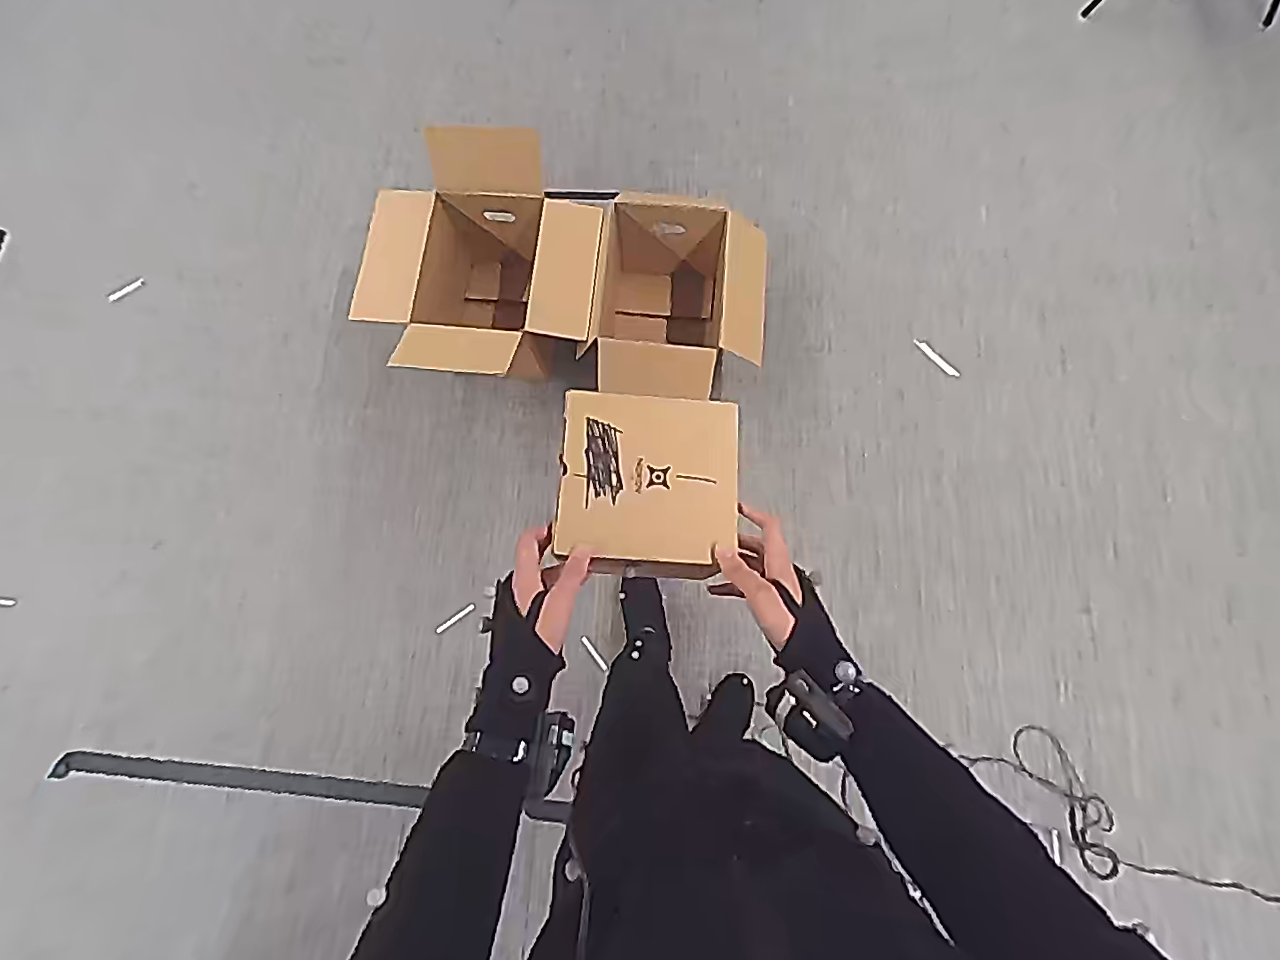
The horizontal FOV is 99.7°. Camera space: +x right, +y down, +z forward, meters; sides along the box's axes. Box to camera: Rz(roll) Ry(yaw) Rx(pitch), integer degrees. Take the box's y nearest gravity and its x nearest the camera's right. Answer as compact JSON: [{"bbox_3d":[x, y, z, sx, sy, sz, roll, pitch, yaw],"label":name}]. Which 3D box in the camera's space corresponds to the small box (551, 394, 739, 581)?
[{"bbox_3d":[0.004,0.019,0.597,0.179,0.176,0.168,4,75,-3],"label":"small box"}]
